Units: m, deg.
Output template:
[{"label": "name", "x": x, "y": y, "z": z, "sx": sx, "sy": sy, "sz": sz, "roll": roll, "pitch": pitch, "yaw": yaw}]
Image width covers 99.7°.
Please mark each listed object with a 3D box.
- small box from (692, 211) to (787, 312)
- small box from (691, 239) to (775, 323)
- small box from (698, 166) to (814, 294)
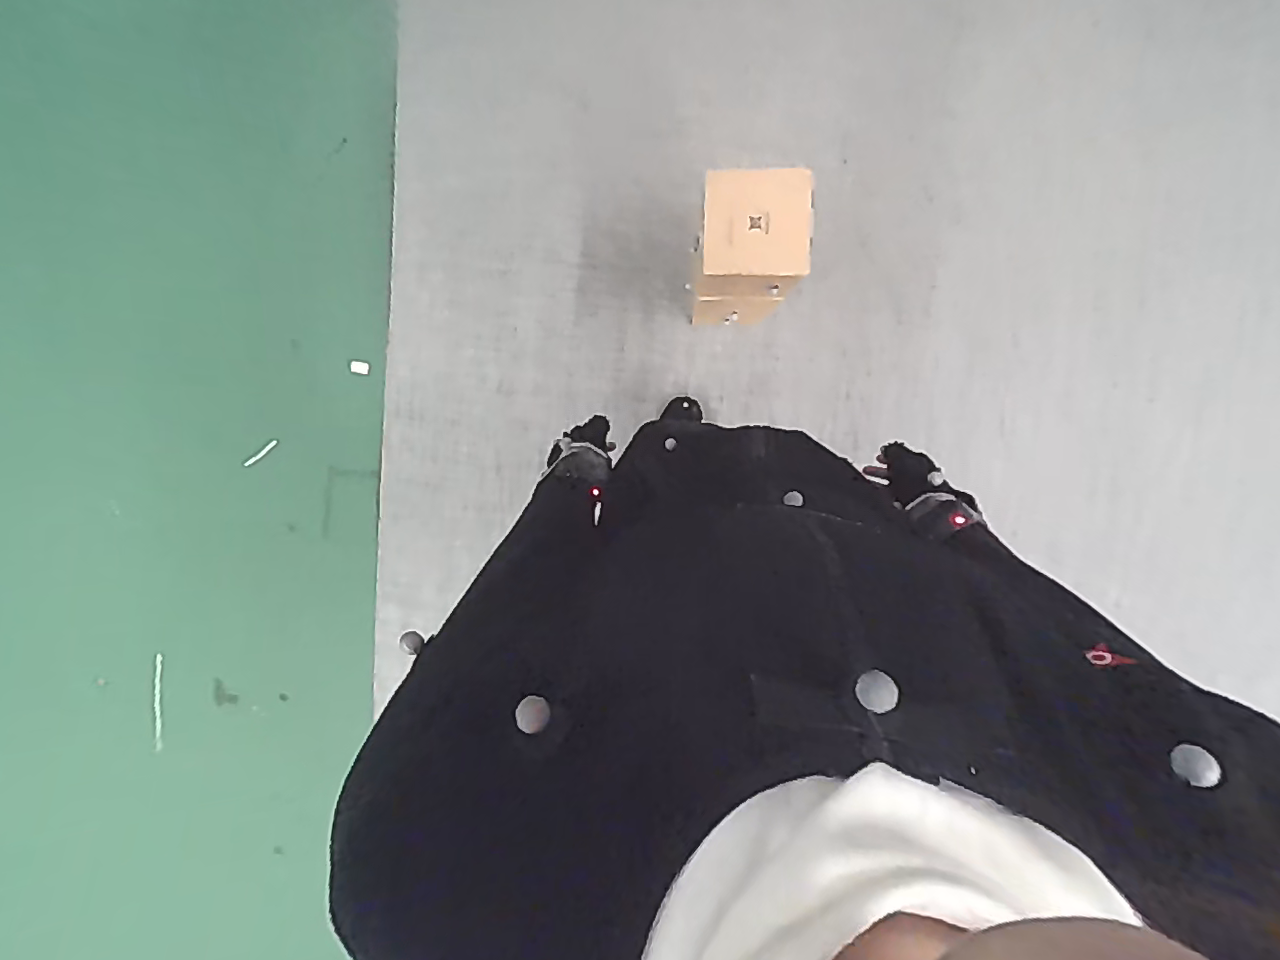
[{"label": "small box", "x": 0.202, "y": -0.447, "z": 1.116, "sx": 0.179, "sy": 0.176, "sz": 0.168, "roll": 2, "pitch": 97, "yaw": 3}, {"label": "small box", "x": 0.214, "y": -0.471, "z": 1.277, "sx": 0.179, "sy": 0.176, "sz": 0.168, "roll": -3, "pitch": 97, "yaw": 4}, {"label": "small box", "x": 0.196, "y": -0.431, "z": 0.954, "sx": 0.179, "sy": 0.176, "sz": 0.168, "roll": 1, "pitch": 96, "yaw": 5}]
